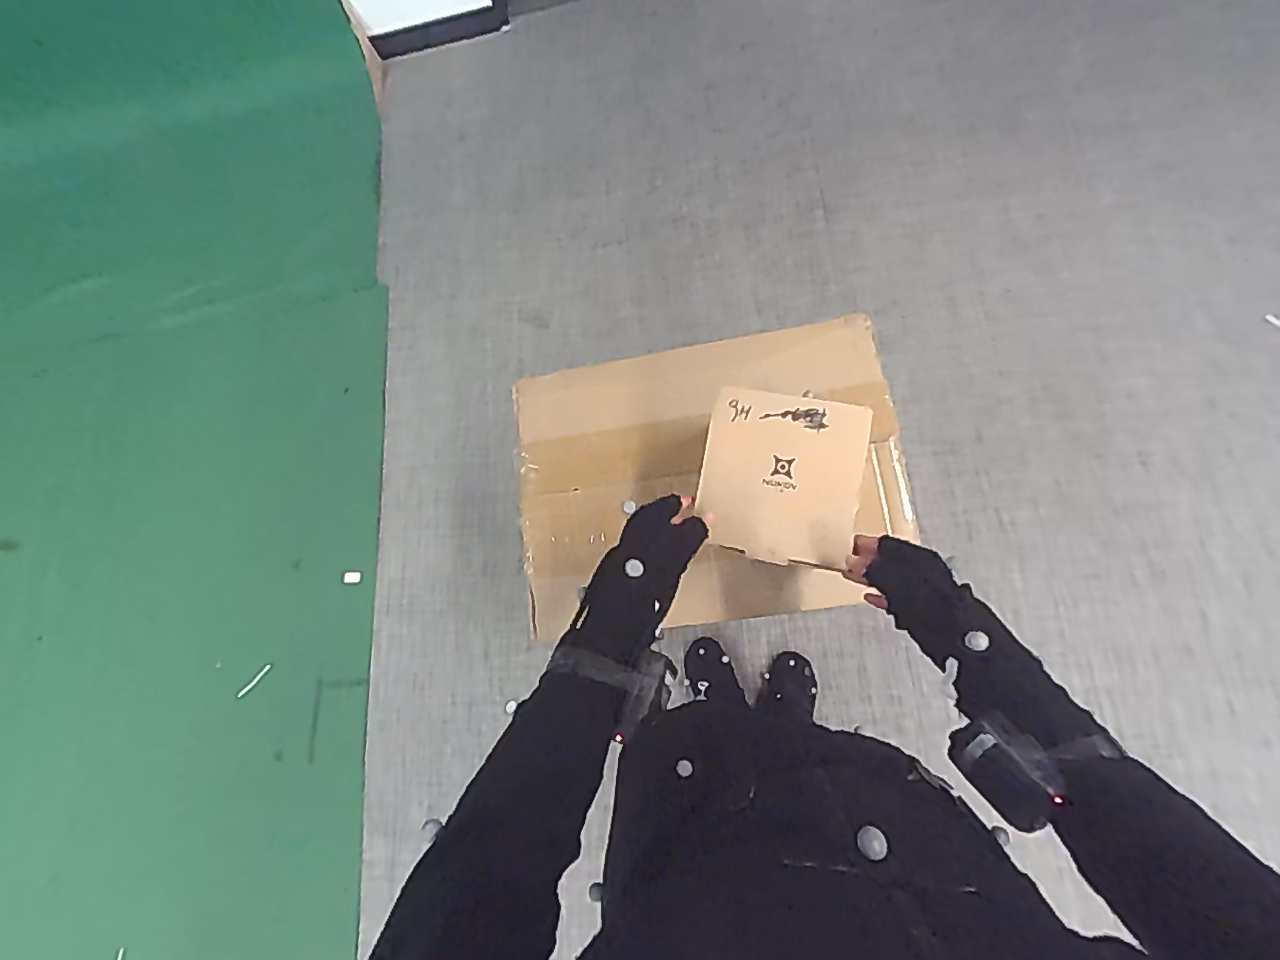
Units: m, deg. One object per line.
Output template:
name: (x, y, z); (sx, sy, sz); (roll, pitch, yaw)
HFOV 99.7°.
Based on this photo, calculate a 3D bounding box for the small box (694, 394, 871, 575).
small box: (0.162, 0.010, 0.651); (0.168, 0.176, 0.179); (8, 84, 9)
